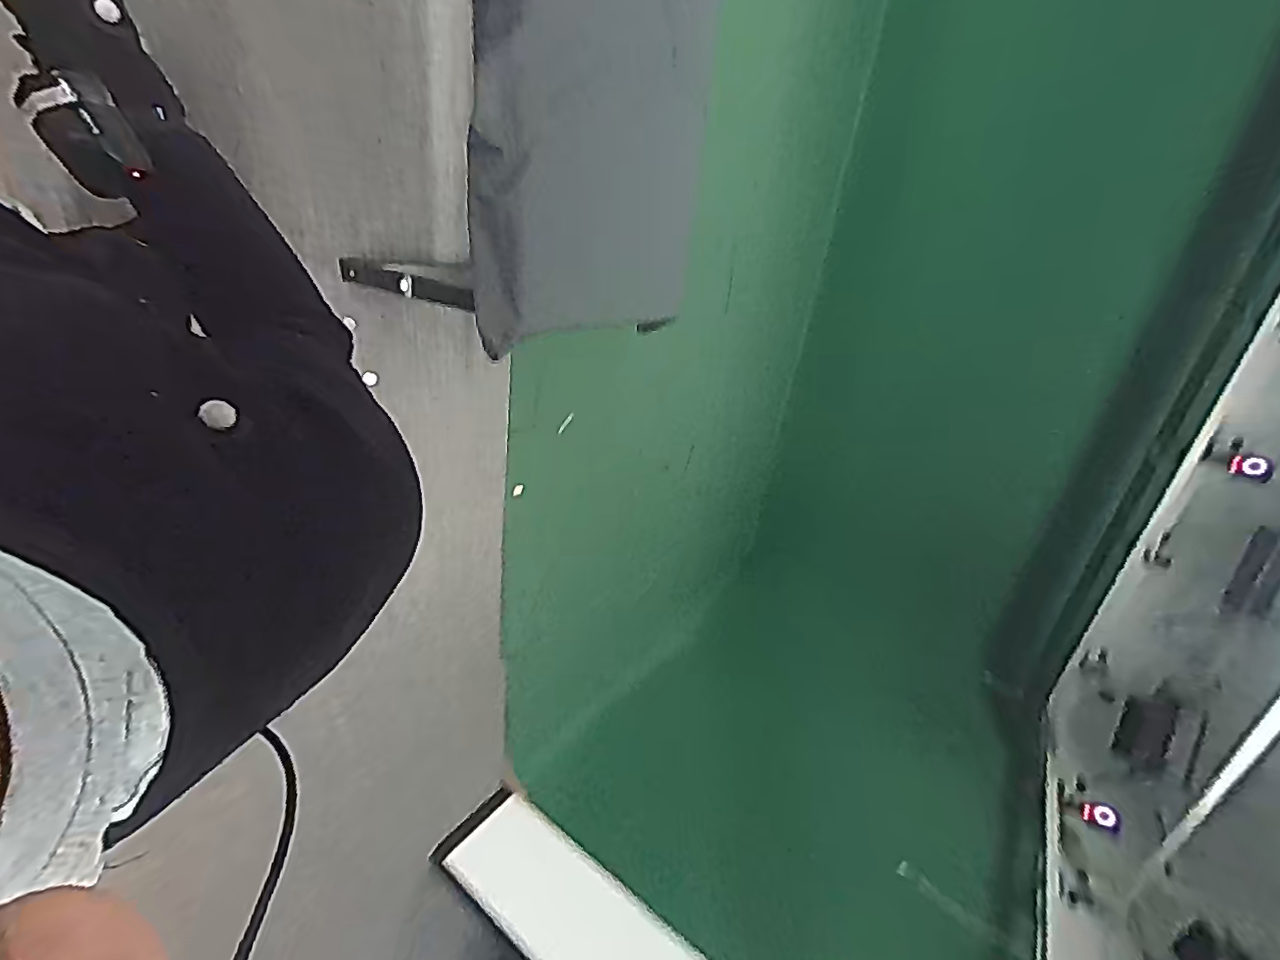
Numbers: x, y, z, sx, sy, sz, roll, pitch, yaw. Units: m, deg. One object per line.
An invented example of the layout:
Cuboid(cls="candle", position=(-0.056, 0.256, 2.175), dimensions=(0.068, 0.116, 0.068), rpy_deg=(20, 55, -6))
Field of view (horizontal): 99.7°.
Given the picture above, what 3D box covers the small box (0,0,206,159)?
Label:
Cuboid(cls="small box", position=(-0.396, -0.343, 0.304), dimensions=(0.176, 0.168, 0.179), rpy_deg=(-43, 168, 9))
